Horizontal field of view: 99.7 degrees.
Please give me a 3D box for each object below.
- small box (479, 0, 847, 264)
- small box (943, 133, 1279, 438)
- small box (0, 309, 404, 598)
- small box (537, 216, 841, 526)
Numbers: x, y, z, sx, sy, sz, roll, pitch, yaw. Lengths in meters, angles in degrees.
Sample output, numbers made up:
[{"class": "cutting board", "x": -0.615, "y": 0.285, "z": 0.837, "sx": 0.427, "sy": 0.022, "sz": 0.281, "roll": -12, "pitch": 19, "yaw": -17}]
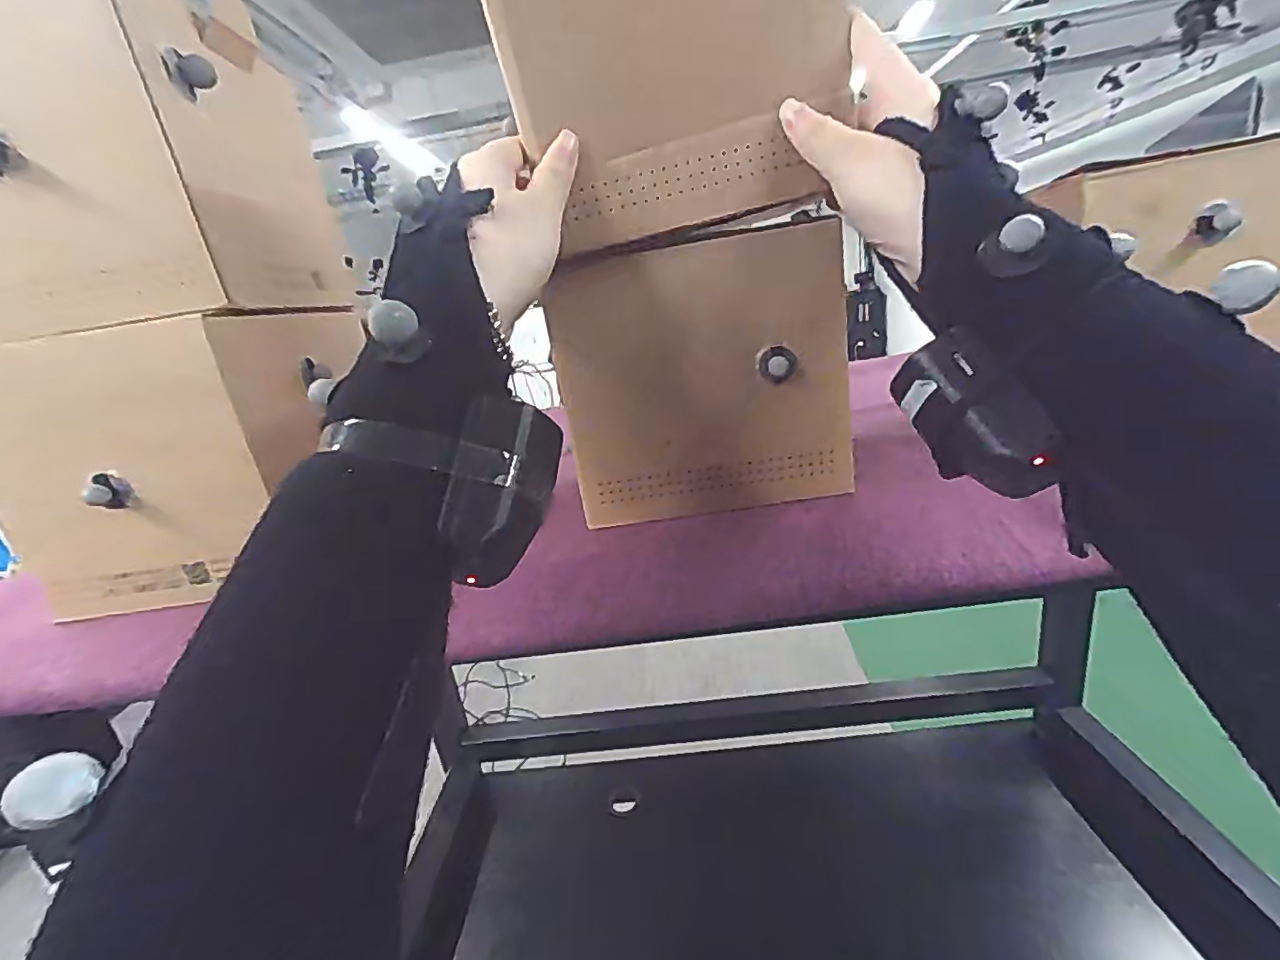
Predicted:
[{"class": "small box", "x": 0.012, "y": -0.236, "z": 0.348, "sx": 0.179, "sy": 0.176, "sz": 0.168, "roll": -13, "pitch": 18, "yaw": 1}, {"class": "small box", "x": 0.359, "y": -0.133, "z": 0.409, "sx": 0.179, "sy": 0.176, "sz": 0.168, "roll": -8, "pitch": 15, "yaw": 6}, {"class": "small box", "x": -0.299, "y": -0.025, "z": 0.397, "sx": 0.168, "sy": 0.176, "sz": 0.179, "roll": -7, "pitch": 17, "yaw": 1}, {"class": "small box", "x": 0.040, "y": -0.079, "z": 0.404, "sx": 0.179, "sy": 0.176, "sz": 0.168, "roll": -9, "pitch": 15, "yaw": 3}]
